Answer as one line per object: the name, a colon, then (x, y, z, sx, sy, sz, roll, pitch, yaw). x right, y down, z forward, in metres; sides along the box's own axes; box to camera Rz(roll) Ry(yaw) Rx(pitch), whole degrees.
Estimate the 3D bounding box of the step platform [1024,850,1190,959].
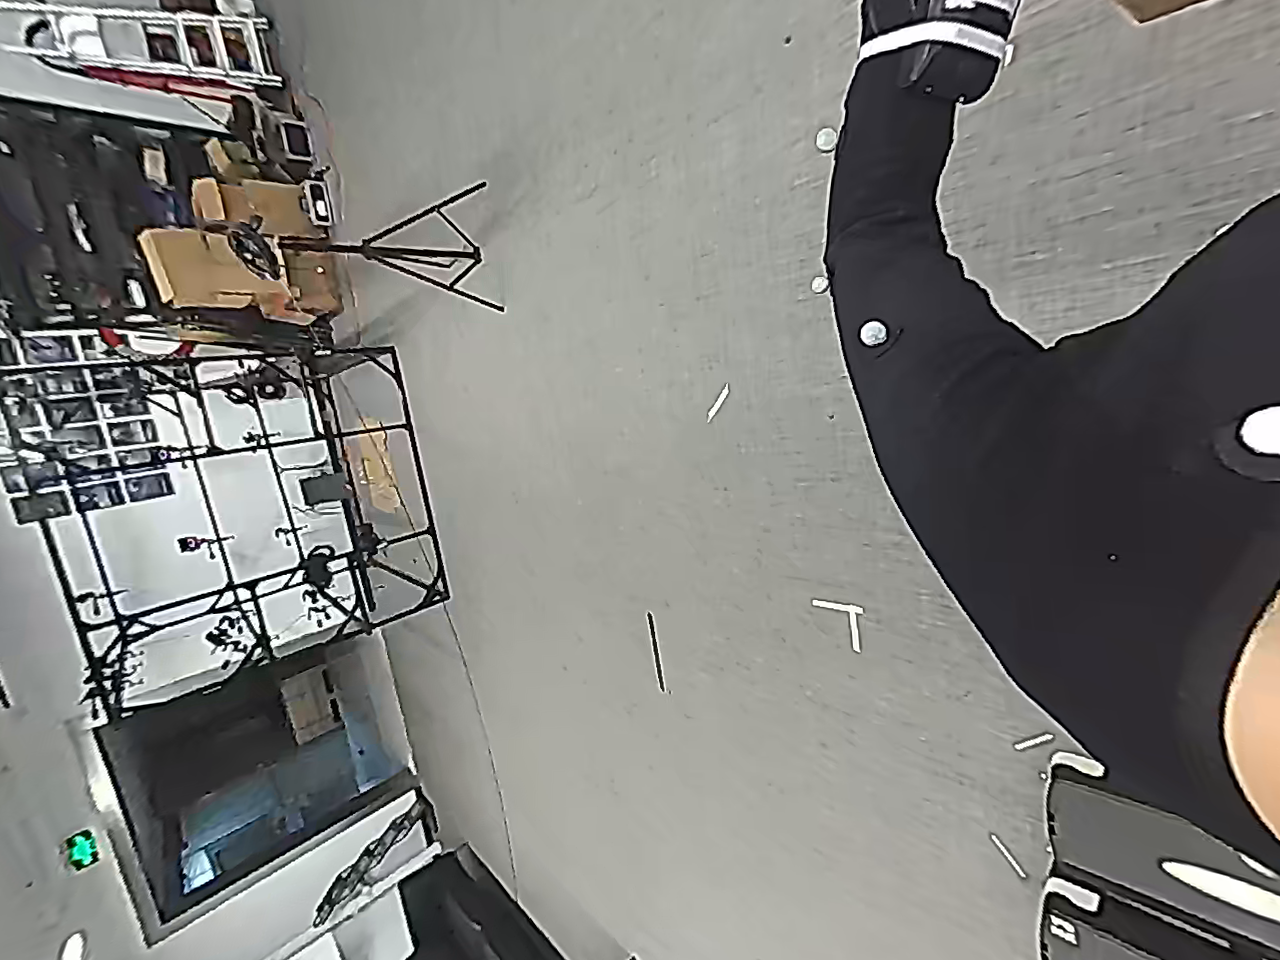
step platform: (1.243, 1.129, 1.161, 0.684, 0.204, 0.286, 0, 102, 50)
